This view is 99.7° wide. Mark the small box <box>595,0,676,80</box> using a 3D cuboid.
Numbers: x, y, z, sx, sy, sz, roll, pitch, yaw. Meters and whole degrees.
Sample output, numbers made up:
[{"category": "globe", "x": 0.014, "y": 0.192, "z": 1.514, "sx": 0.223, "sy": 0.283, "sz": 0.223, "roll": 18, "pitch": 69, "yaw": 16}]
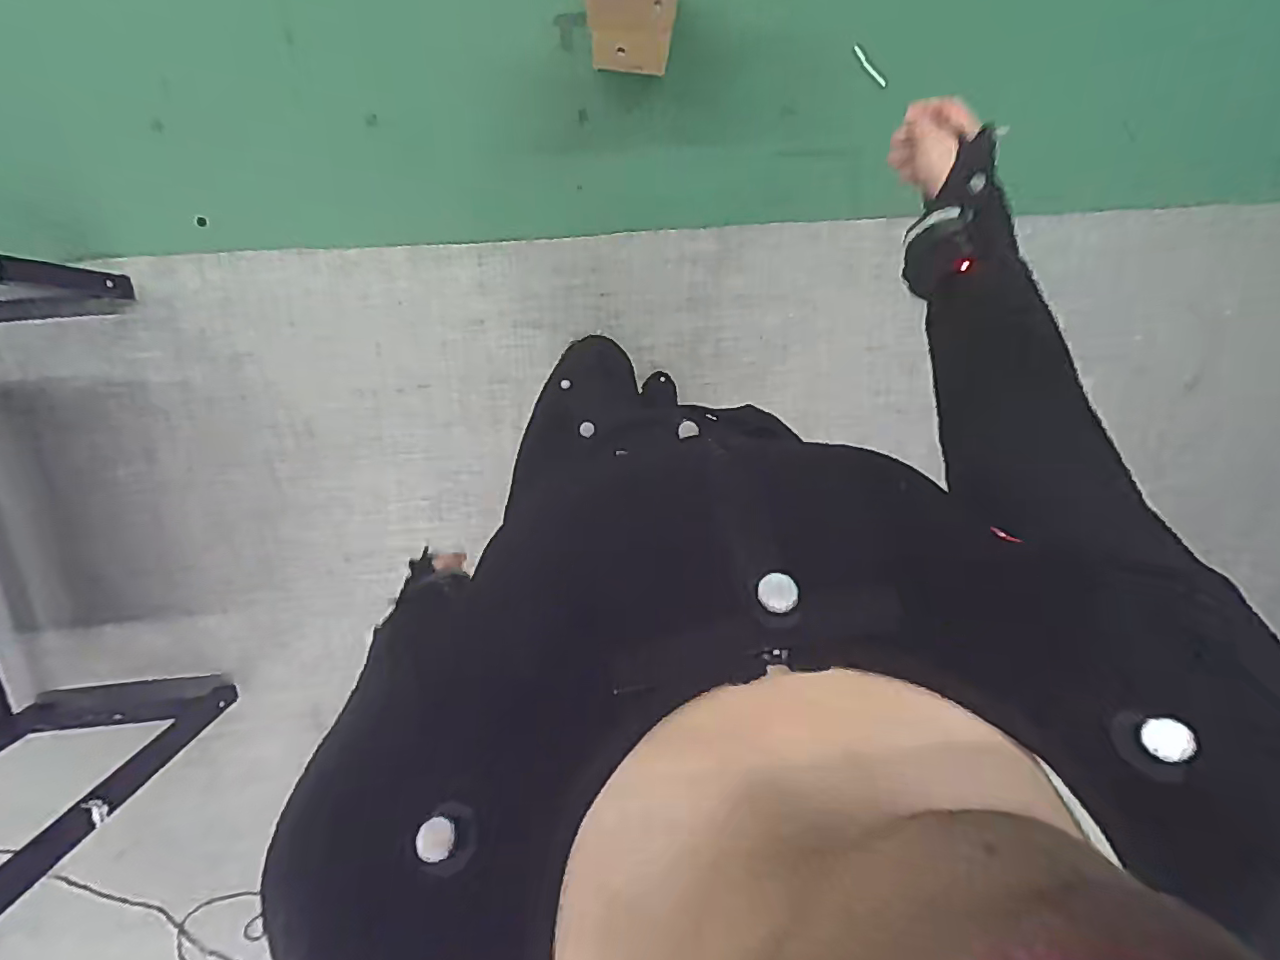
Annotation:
[{"category": "small box", "x": -0.009, "y": -1.018, "z": 1.187, "sx": 0.168, "sy": 0.176, "sz": 0.179, "roll": 3, "pitch": 102, "yaw": -4}]
